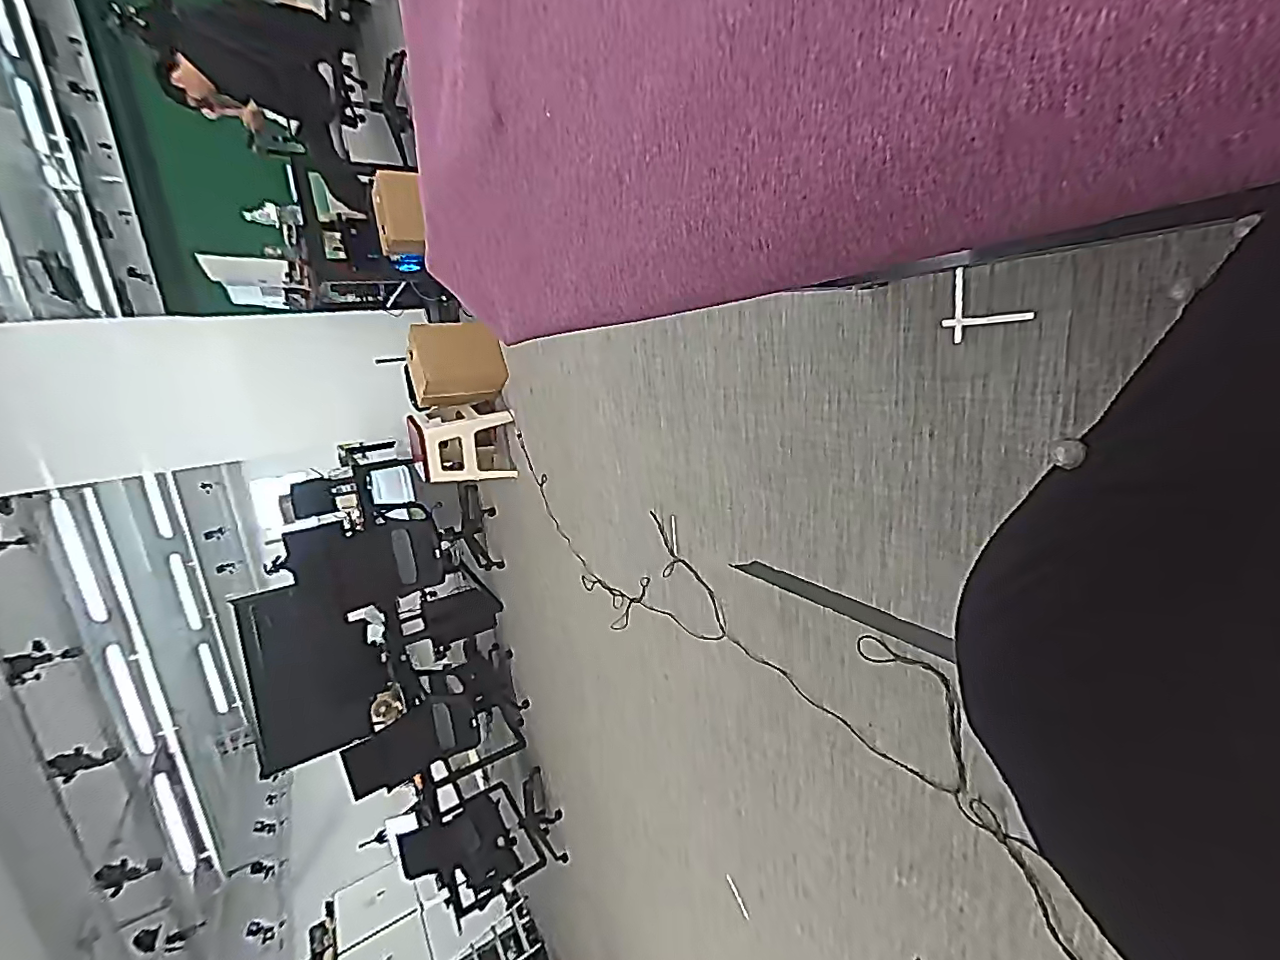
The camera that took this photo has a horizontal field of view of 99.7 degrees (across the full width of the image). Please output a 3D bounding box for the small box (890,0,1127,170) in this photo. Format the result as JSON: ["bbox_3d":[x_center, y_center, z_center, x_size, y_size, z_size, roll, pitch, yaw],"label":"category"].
[{"bbox_3d":[0.404,-0.466,0.601,0.168,0.176,0.179,16,118,56],"label":"small box"}]
